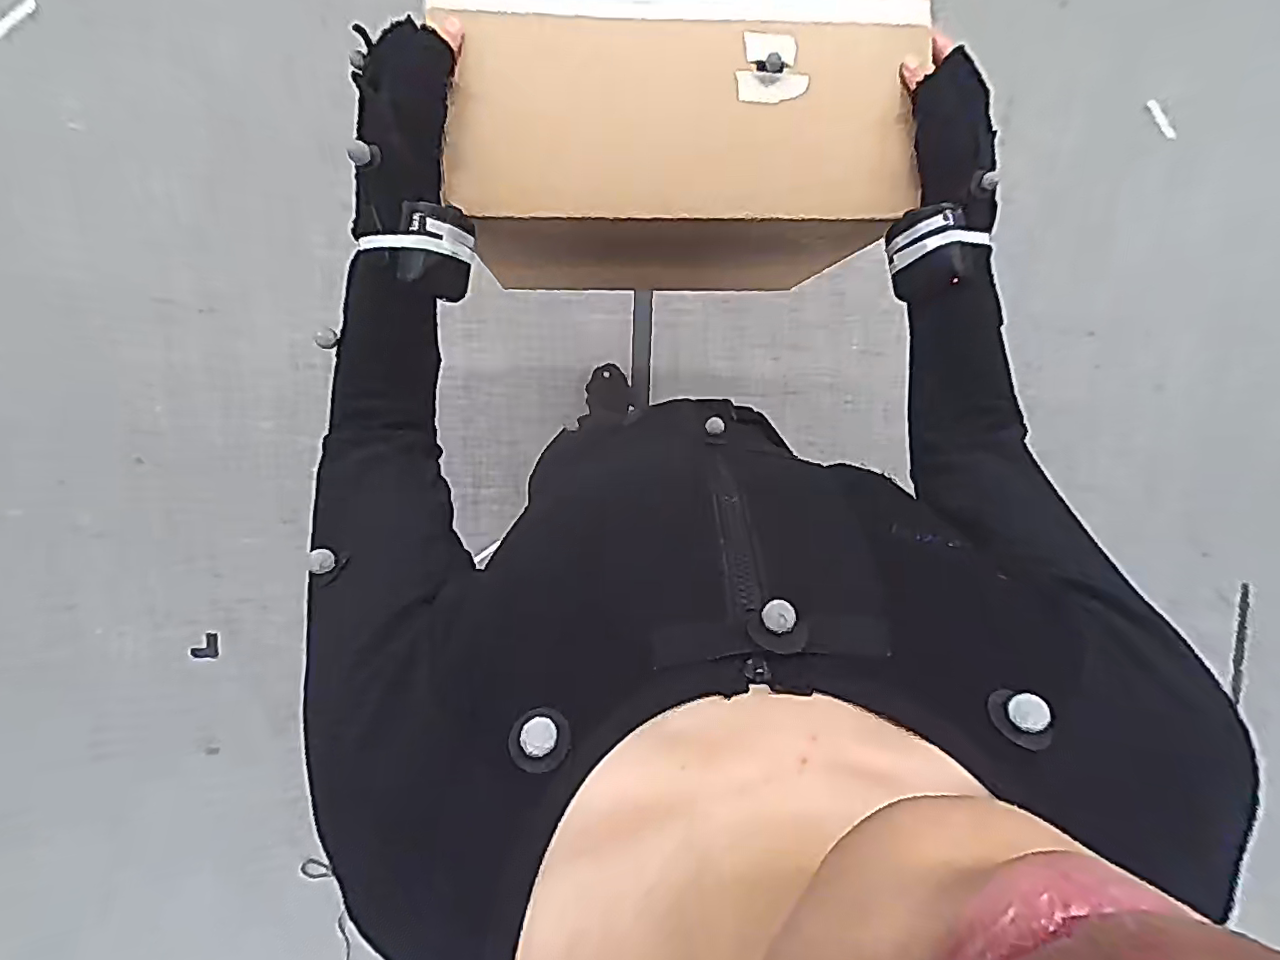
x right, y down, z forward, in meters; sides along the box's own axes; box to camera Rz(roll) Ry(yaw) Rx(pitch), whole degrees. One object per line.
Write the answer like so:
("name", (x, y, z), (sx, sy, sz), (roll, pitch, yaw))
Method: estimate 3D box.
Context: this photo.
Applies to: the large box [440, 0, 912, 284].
("large box", (0.020, -0.409, 0.594), (0.408, 0.320, 0.320), (-2, 100, -6))
